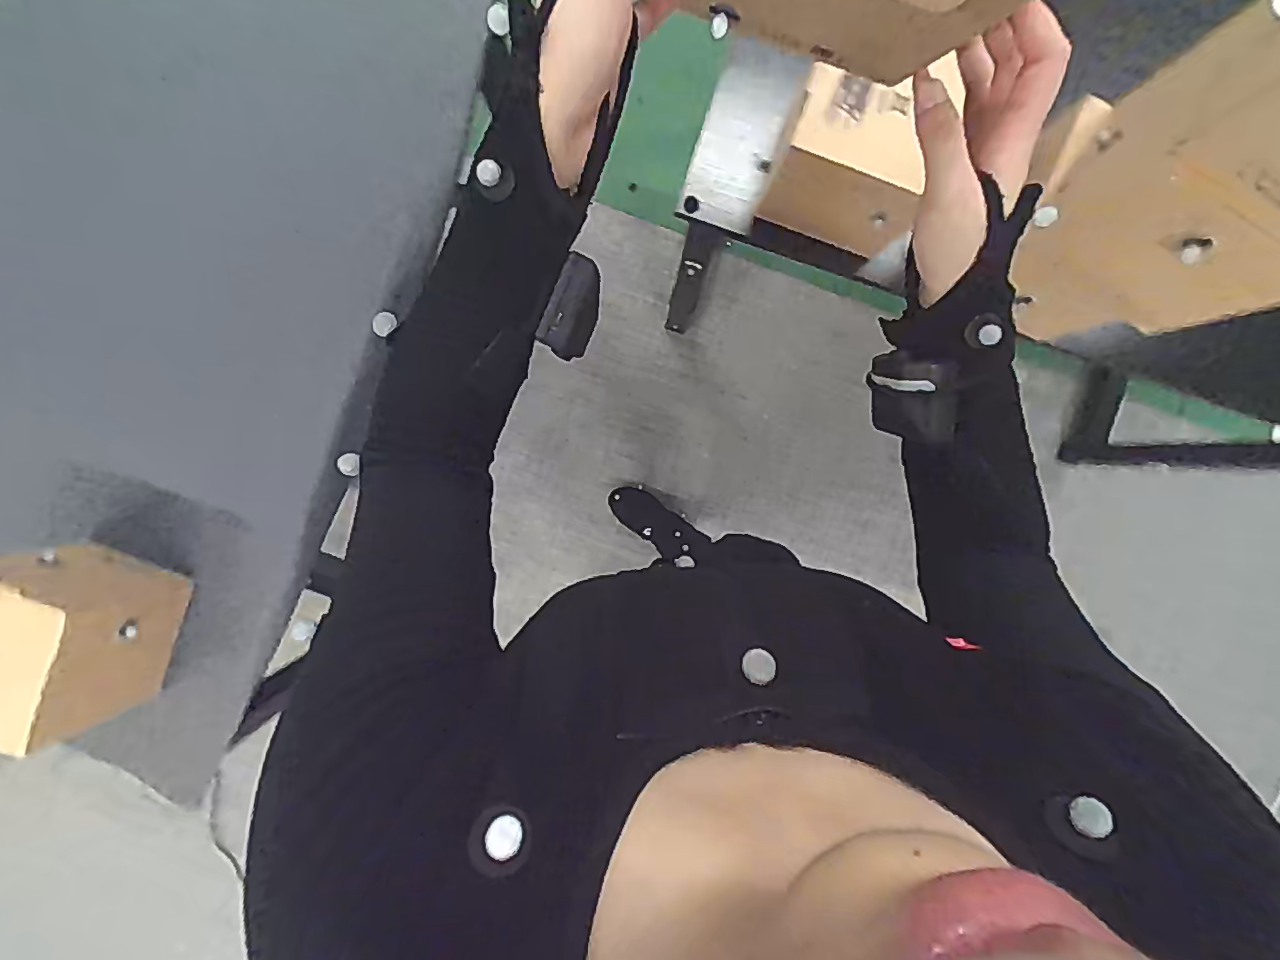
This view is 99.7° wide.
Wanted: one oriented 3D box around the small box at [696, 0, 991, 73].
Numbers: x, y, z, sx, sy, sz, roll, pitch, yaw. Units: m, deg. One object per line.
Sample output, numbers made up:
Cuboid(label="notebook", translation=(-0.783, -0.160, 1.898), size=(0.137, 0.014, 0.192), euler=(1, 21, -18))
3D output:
Cuboid(label="small box", translation=(0.117, -0.335, 0.261), size=(0.168, 0.176, 0.179), euler=(14, 114, -5))

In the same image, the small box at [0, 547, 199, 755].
Cuboid(label="small box", translation=(-0.712, 0.197, 0.679), size=(0.168, 0.176, 0.179), euler=(19, 93, 2))

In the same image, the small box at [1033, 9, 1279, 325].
Cuboid(label="small box", translation=(0.521, -0.260, 0.487), size=(0.179, 0.176, 0.168), euler=(32, 93, -1))

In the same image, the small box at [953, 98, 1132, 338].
Cuboid(label="small box", translation=(0.517, -0.291, 0.648), size=(0.168, 0.176, 0.179), euler=(24, 93, -2))
